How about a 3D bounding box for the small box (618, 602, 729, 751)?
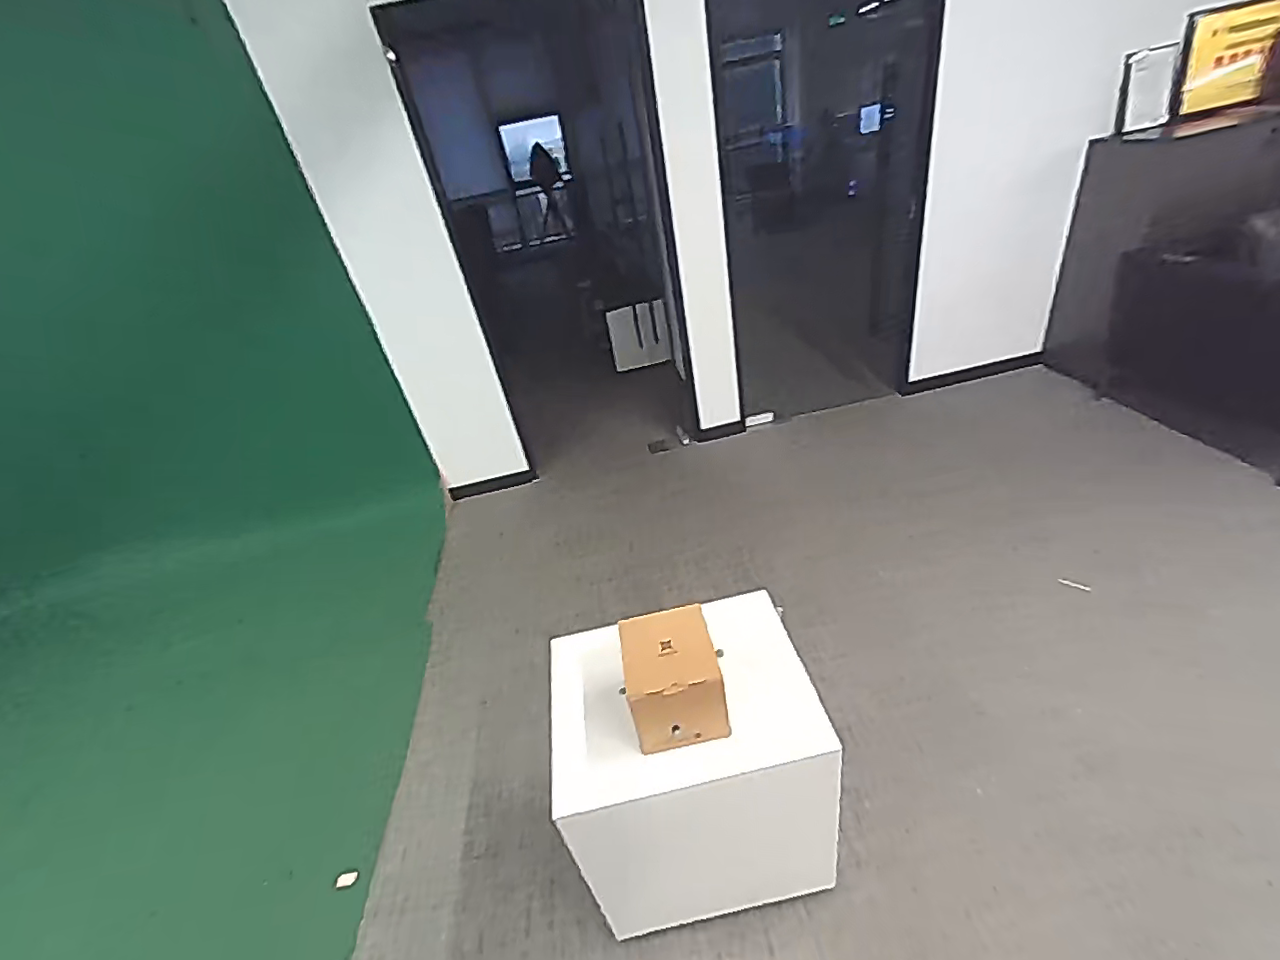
[{"bbox_3d":[0.059,0.358,0.993,0.168,0.176,0.179,-13,31,-1],"label":"small box"}]
